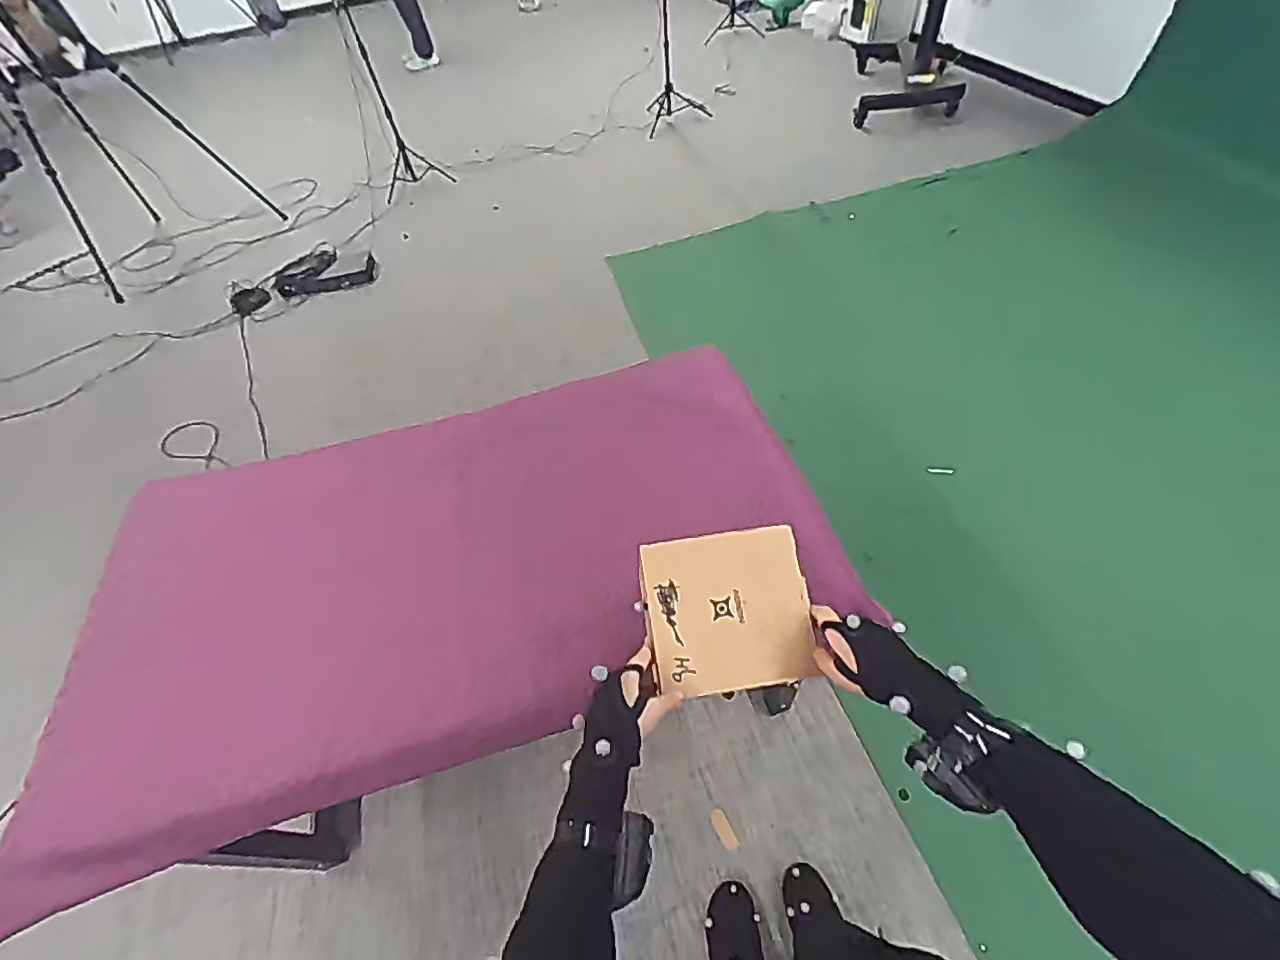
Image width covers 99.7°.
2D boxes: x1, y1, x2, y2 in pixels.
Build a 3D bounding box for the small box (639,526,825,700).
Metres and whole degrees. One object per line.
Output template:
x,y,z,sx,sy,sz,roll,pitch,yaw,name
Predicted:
0.095,0.163,0.654,0.179,0.176,0.168,-8,70,-3,small box
